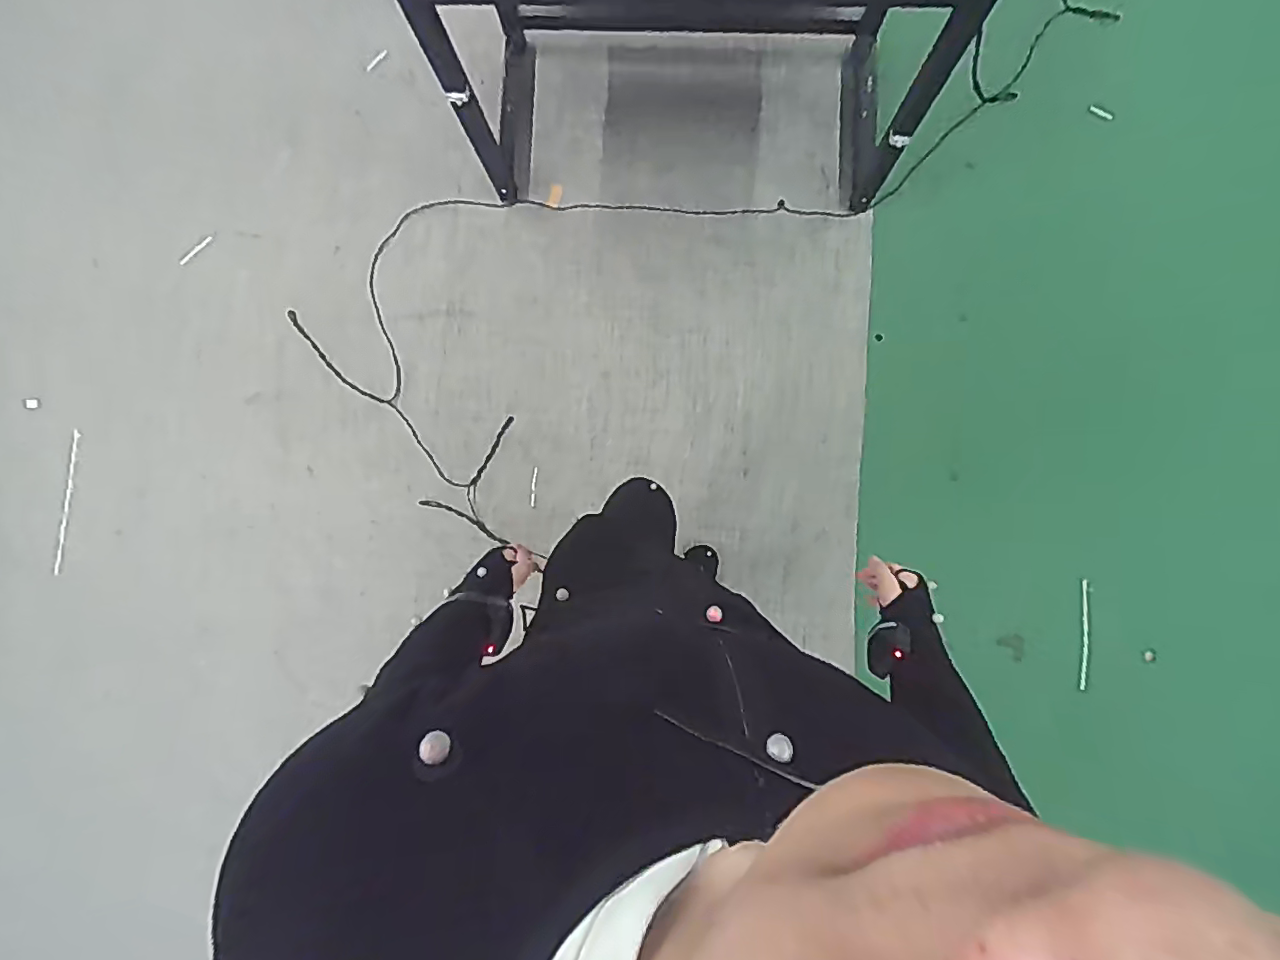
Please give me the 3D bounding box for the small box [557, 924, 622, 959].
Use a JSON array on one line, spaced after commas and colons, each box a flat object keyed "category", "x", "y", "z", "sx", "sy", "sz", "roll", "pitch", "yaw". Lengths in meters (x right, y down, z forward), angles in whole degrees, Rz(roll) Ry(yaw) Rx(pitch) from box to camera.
[{"category": "small box", "x": -0.142, "y": 1.330, "z": 1.431, "sx": 0.168, "sy": 0.176, "sz": 0.179, "roll": 6, "pitch": 85, "yaw": 4}]
